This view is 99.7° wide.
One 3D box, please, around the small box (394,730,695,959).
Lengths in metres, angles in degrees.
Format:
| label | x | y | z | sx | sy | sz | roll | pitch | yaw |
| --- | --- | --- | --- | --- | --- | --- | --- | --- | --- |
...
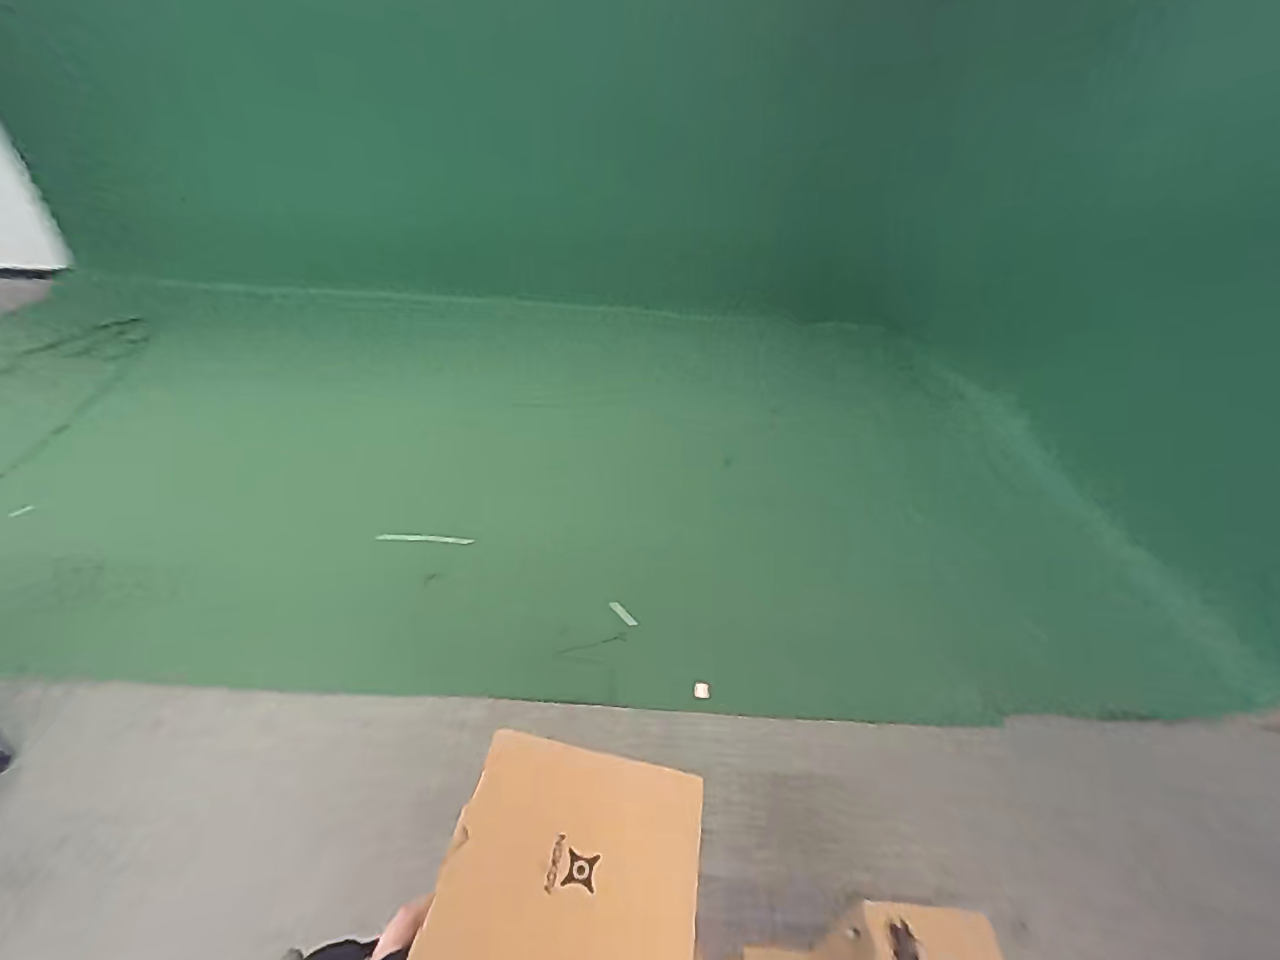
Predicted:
| label | x | y | z | sx | sy | sz | roll | pitch | yaw |
| --- | --- | --- | --- | --- | --- | --- | --- | --- | --- |
| small box | -0.064 | 0.329 | 0.415 | 0.179 | 0.176 | 0.168 | 11 | 36 | 2 |

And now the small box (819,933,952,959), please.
| label | x | y | z | sx | sy | sz | roll | pitch | yaw |
| --- | --- | --- | --- | --- | --- | --- | --- | --- | --- |
| small box | 0.376 | 0.829 | 0.820 | 0.179 | 0.176 | 0.168 | 9 | 38 | 3 |
